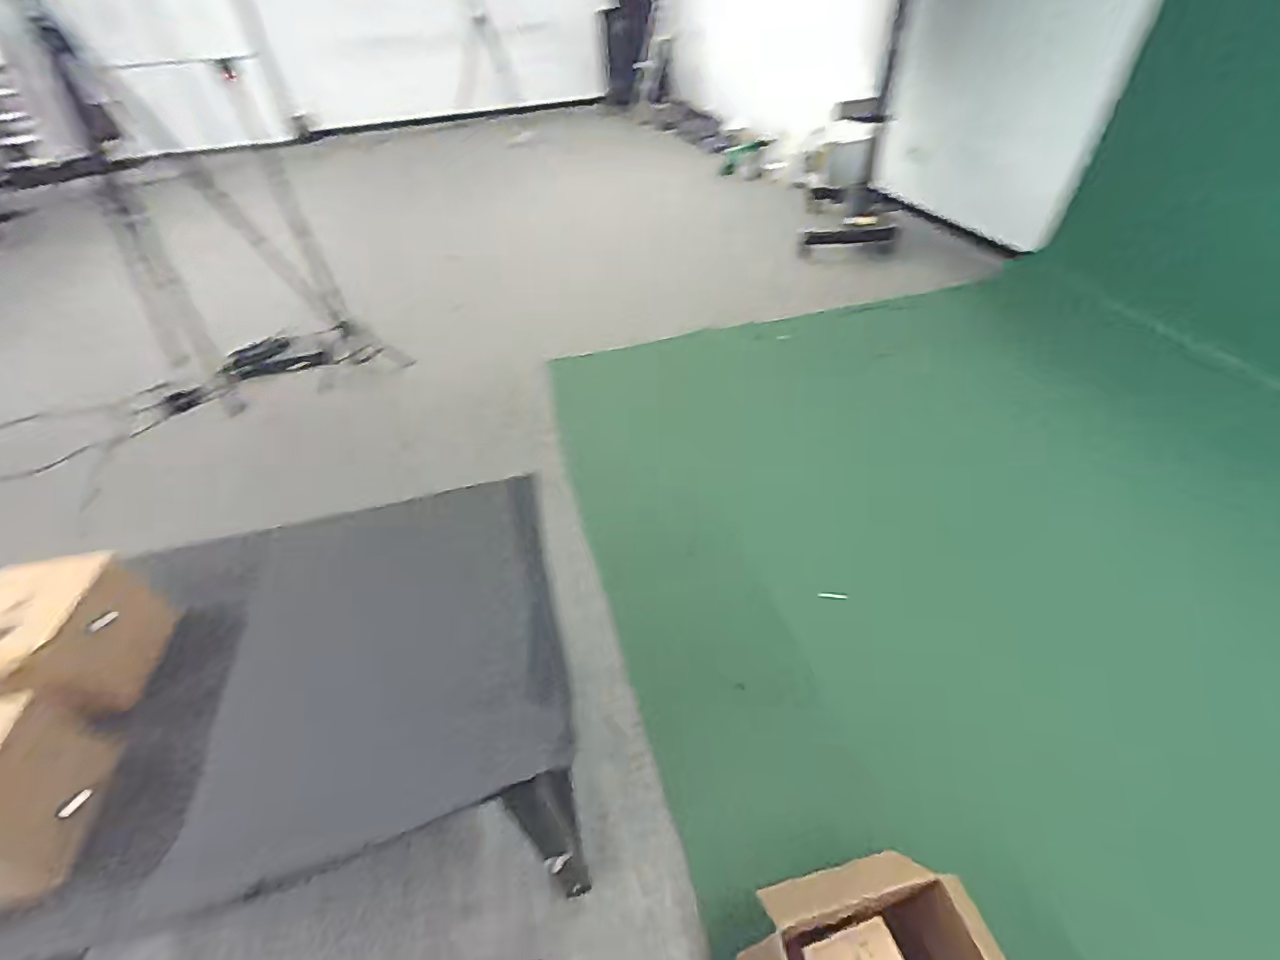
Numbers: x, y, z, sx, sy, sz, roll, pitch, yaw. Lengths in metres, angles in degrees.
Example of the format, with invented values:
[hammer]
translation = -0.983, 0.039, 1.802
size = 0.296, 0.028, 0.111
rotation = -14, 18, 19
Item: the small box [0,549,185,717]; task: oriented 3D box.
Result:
[small box]
translation = -0.844, 0.234, 0.811
size = 0.168, 0.176, 0.179
rotation = -9, 42, -5
